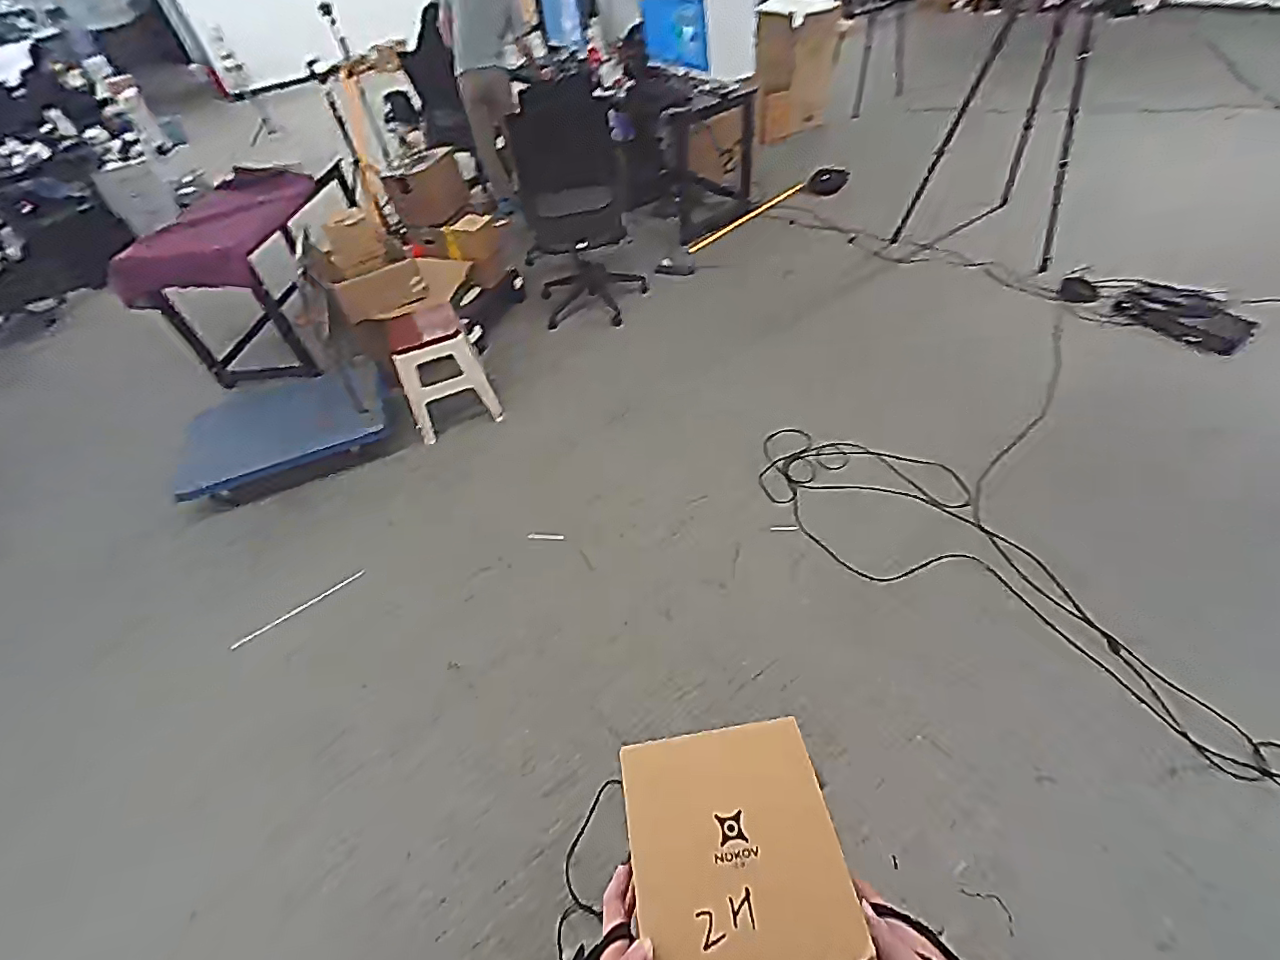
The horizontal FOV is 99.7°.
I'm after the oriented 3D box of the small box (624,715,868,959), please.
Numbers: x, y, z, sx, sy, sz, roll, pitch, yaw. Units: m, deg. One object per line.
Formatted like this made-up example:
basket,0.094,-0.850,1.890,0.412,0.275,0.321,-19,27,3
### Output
small box,0.079,0.347,0.500,0.168,0.176,0.179,-8,46,-2
